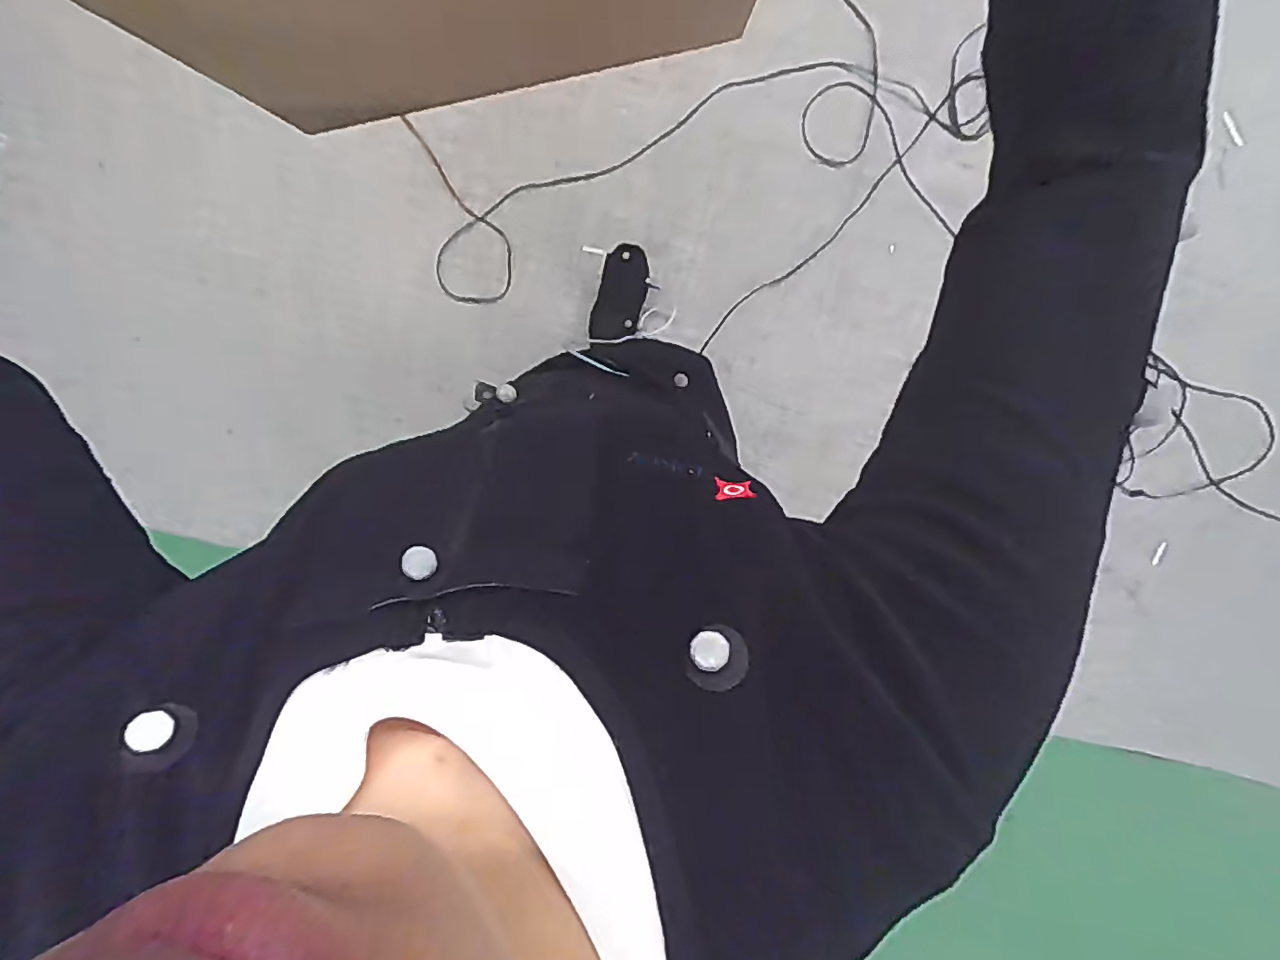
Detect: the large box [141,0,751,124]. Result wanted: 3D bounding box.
[{"bbox_3d":[-0.126,-0.464,0.305,0.408,0.320,0.320,-11,107,1],"label":"large box"}]
